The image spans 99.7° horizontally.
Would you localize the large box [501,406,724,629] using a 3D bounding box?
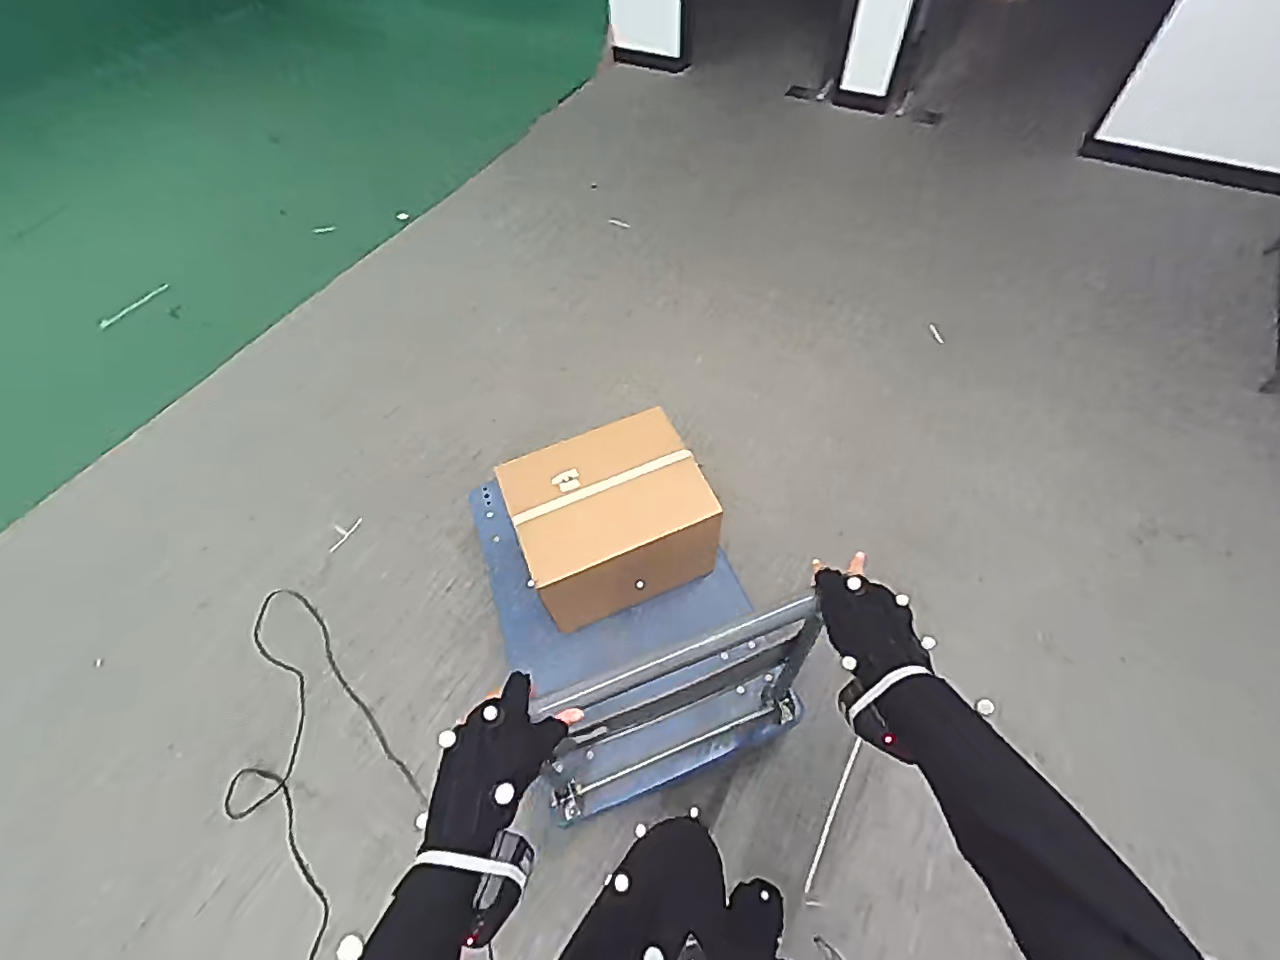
[{"bbox_3d":[-0.057,0.095,1.276,0.408,0.320,0.320,-22,59,-10],"label":"large box"}]
